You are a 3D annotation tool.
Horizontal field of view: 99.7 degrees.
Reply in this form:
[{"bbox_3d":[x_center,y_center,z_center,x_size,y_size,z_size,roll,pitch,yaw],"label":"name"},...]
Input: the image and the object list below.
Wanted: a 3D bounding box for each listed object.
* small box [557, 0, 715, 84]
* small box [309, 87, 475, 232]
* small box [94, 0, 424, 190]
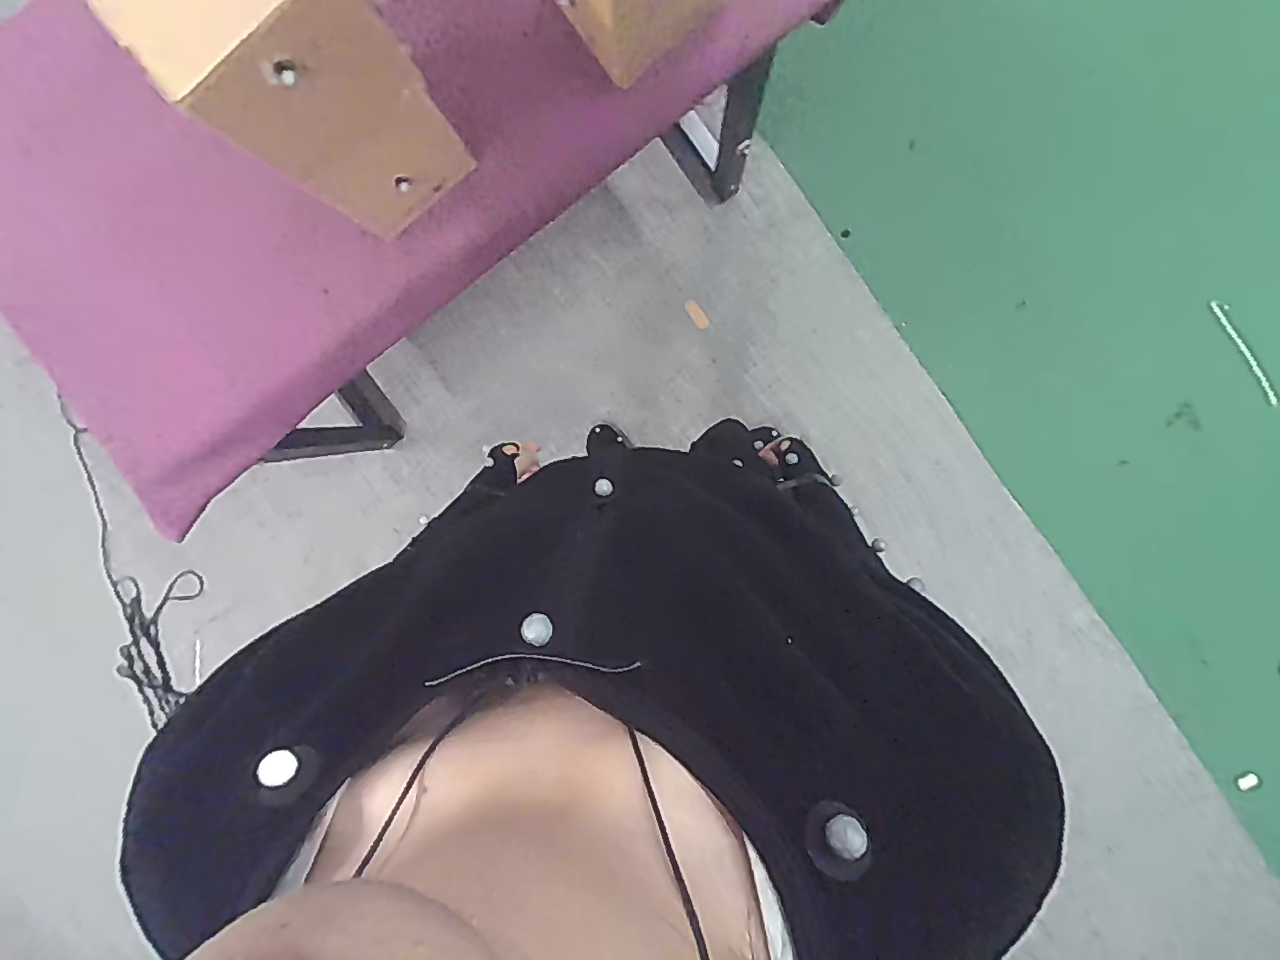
[{"bbox_3d":[-0.010,-0.622,0.622,0.179,0.176,0.168,-37,93,9],"label":"small box"},{"bbox_3d":[-0.339,-0.438,0.670,0.168,0.176,0.179,-36,91,7],"label":"small box"},{"bbox_3d":[-0.345,-0.418,0.509,0.179,0.176,0.168,-36,93,7],"label":"small box"}]
